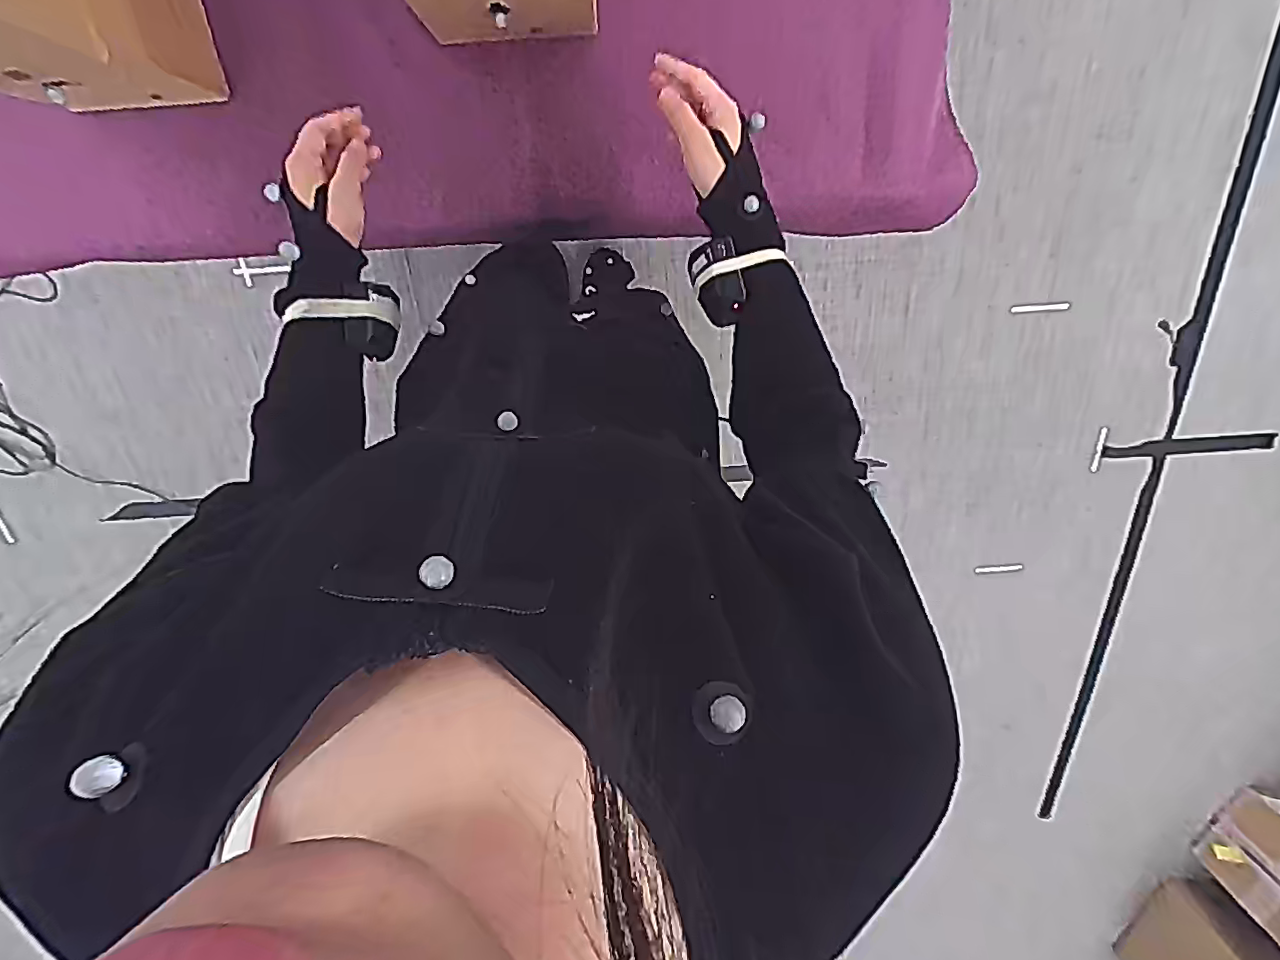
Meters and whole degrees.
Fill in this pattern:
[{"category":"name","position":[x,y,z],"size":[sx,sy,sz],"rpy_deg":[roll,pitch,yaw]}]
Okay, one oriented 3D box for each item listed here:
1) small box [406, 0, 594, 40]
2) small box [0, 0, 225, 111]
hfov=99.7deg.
[{"category":"small box","position":[-0.129,-0.504,0.458],"size":[0.168,0.176,0.179],"rpy_deg":[-4,112,-2]},{"category":"small box","position":[-0.514,-0.439,0.467],"size":[0.168,0.176,0.179],"rpy_deg":[-5,112,-1]}]
